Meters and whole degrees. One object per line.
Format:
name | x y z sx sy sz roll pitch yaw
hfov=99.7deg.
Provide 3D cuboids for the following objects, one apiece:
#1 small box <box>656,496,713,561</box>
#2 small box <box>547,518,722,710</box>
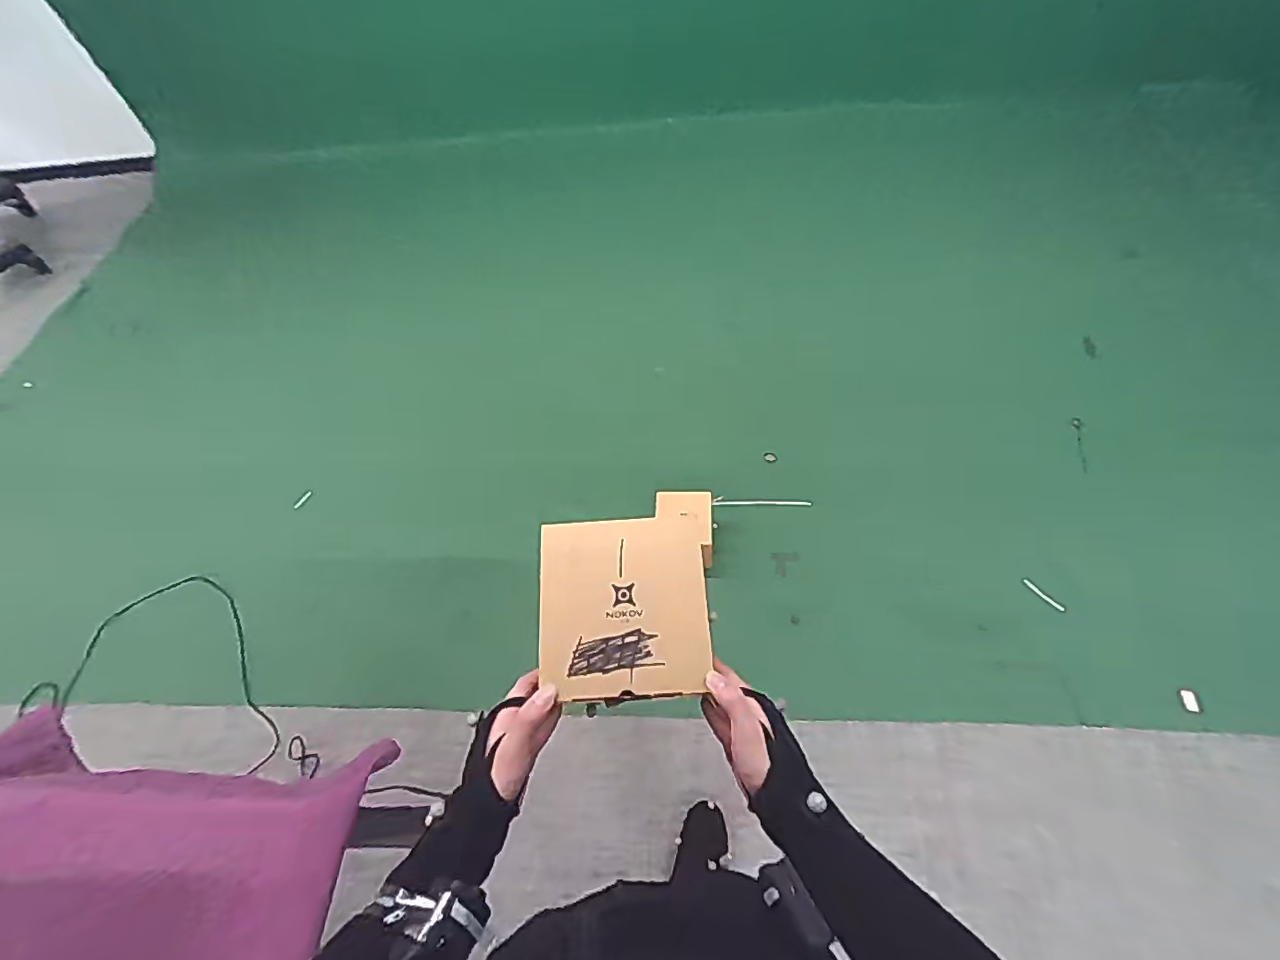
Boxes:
small box | 0.134 0.165 1.641 0.168 0.176 0.179 -1 59 6
small box | -0.004 0.155 0.599 0.168 0.176 0.179 -4 66 0
